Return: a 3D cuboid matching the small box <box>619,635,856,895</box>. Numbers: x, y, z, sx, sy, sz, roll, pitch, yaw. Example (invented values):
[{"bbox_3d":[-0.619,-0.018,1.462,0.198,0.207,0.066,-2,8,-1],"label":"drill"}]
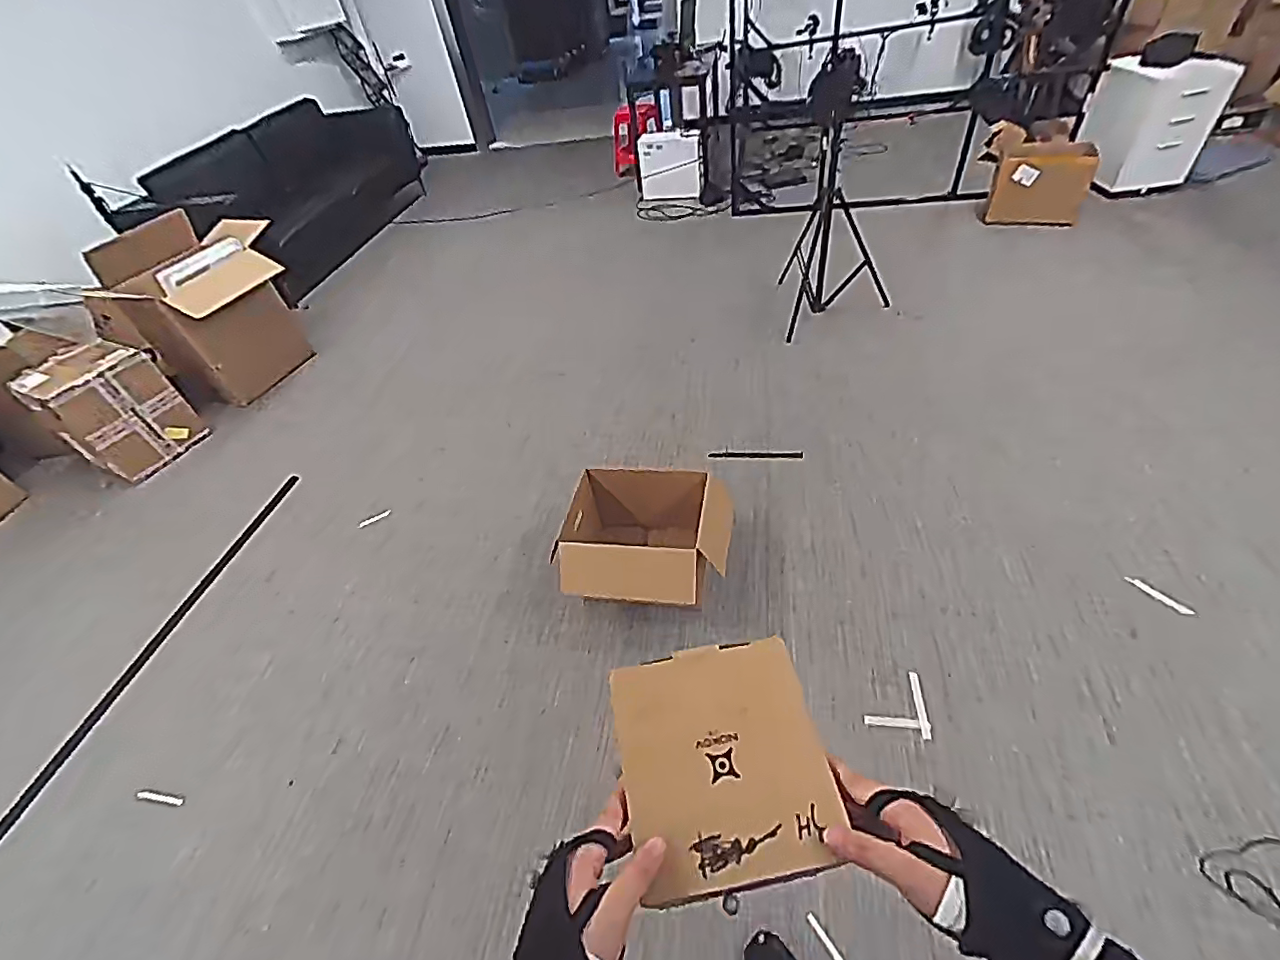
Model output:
[{"bbox_3d":[0.077,0.275,0.518,0.168,0.176,0.179,-10,52,-2],"label":"small box"}]
